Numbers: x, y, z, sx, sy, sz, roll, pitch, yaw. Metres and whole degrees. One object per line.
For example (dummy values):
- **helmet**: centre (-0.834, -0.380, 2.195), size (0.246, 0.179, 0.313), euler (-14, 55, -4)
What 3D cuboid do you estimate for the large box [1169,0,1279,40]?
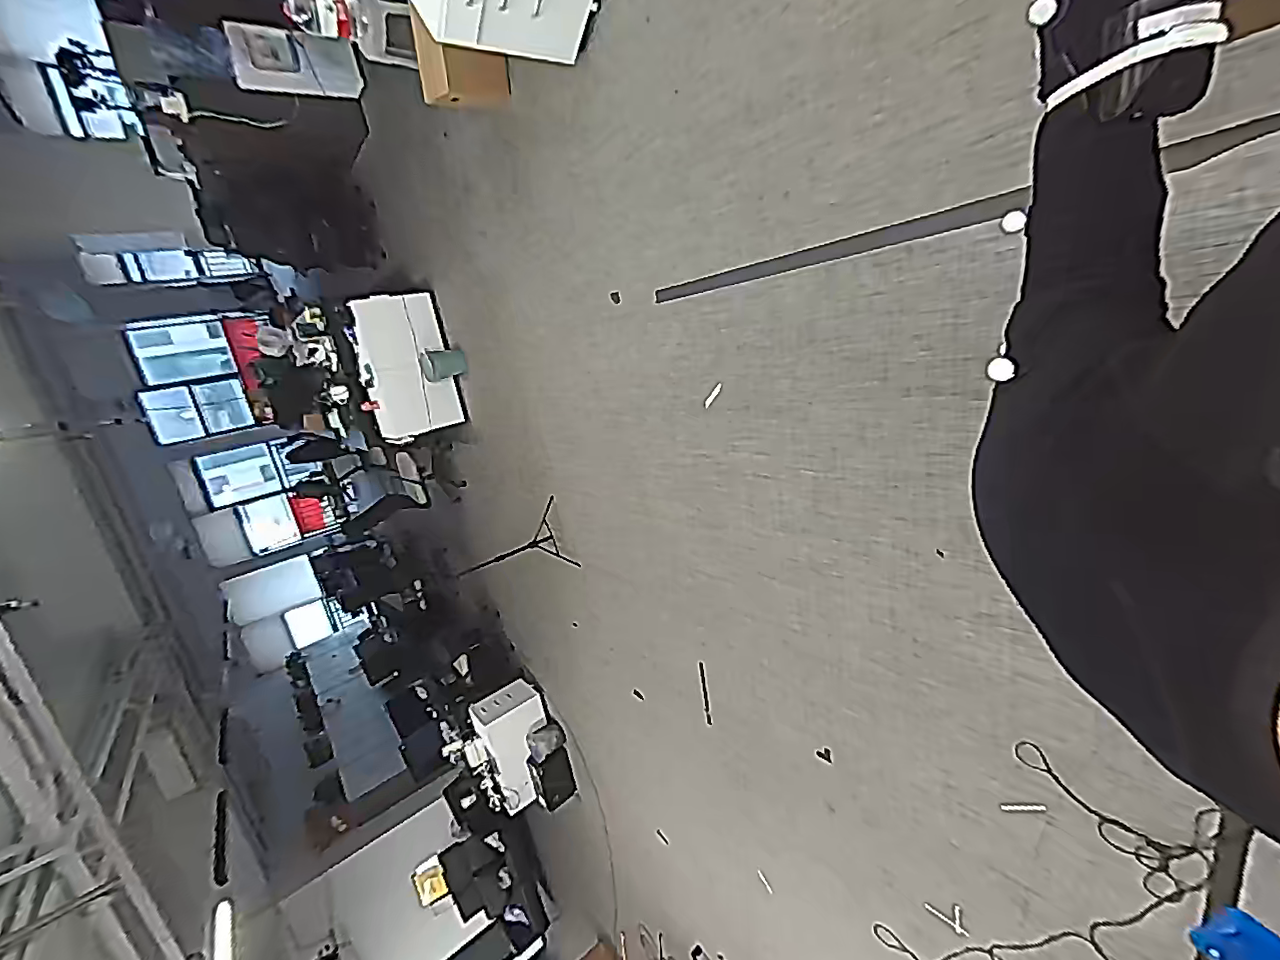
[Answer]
- **large box**: centre (0.536, -0.506, 0.253), size (0.408, 0.320, 0.320), euler (6, 116, 51)

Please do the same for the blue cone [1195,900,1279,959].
- **blue cone**: centre (1.355, 1.168, 1.194), size (0.193, 0.380, 0.192), euler (35, 134, 39)
